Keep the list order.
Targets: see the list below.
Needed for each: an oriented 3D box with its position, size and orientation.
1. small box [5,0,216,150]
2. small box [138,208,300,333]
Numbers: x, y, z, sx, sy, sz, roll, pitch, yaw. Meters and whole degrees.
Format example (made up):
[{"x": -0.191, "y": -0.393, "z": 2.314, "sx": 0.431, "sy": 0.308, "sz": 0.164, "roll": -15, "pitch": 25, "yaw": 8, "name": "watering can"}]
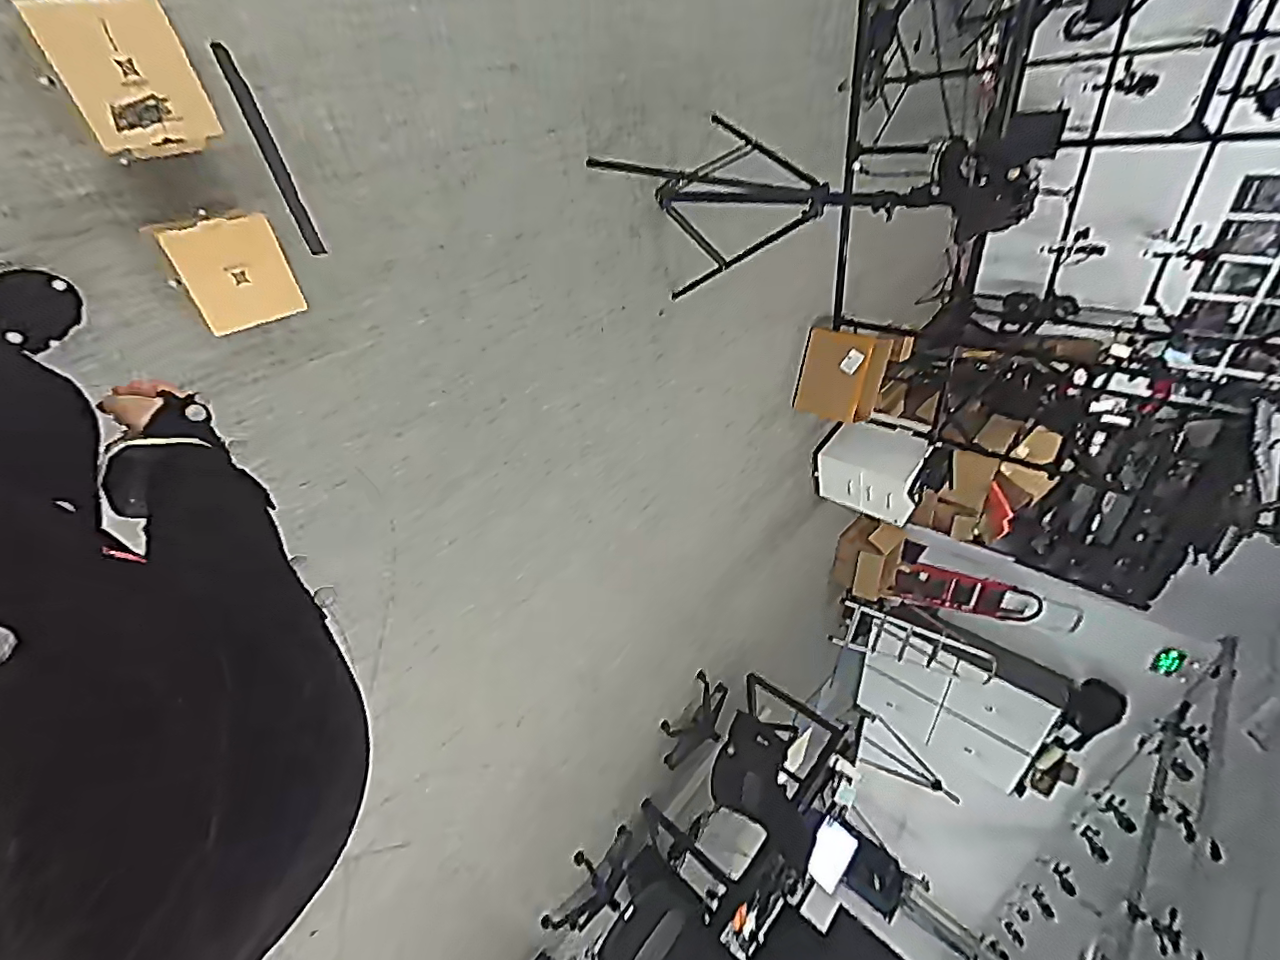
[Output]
[{"x": -0.812, "y": -0.623, "z": 0.840, "sx": 0.168, "sy": 0.176, "sz": 0.179, "roll": -36, "pitch": 133, "yaw": -33, "name": "small box"}, {"x": -0.780, "y": -0.396, "z": 1.007, "sx": 0.168, "sy": 0.176, "sz": 0.179, "roll": -35, "pitch": 133, "yaw": -33, "name": "small box"}]
